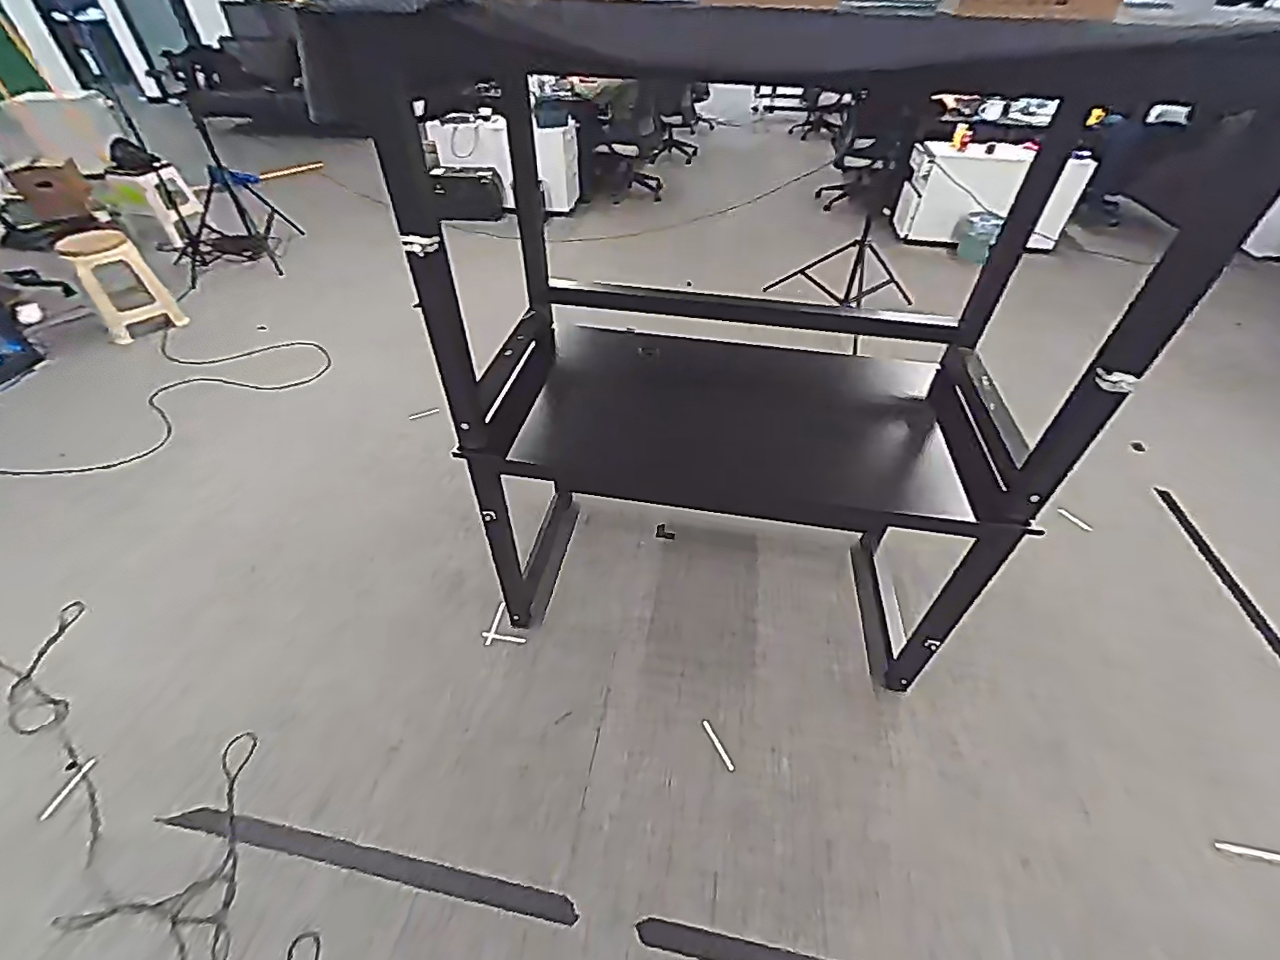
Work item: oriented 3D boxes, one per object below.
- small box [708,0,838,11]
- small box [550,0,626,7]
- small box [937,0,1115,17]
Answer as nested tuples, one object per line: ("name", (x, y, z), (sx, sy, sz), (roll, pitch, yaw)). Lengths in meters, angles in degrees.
("small box", (0.169, -0.678, 0.645), (0.168, 0.176, 0.179), (8, 42, 8))
("small box", (-0.100, -0.712, 0.675), (0.168, 0.176, 0.179), (8, 42, 5))
("small box", (0.465, -0.641, 0.615), (0.168, 0.176, 0.179), (10, 42, 10))
